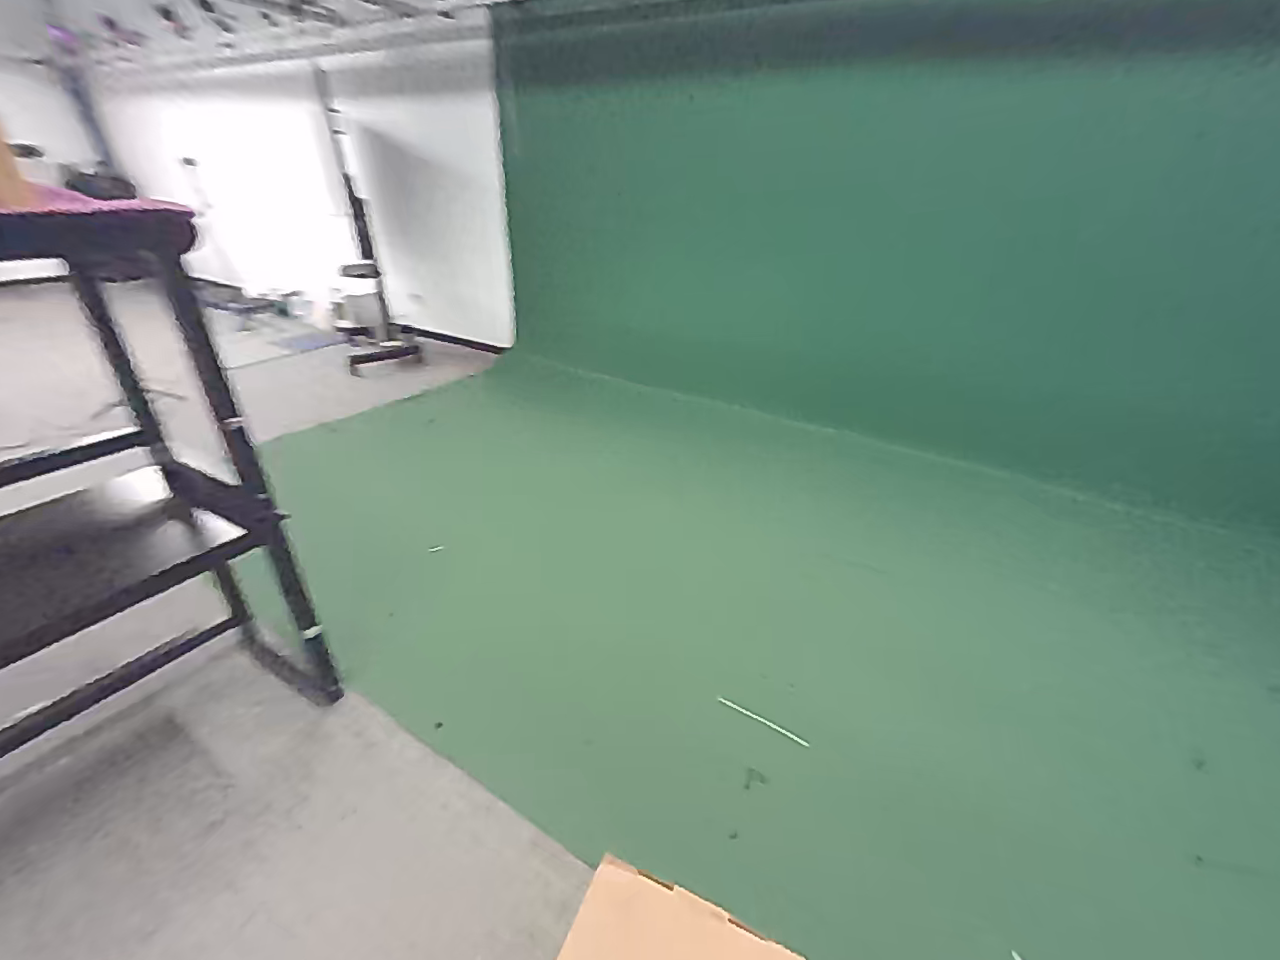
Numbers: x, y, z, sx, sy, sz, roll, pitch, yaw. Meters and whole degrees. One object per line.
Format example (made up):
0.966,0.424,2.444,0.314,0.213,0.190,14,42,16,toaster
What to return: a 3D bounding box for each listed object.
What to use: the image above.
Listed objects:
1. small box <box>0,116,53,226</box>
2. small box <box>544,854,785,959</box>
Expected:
-1.195,-0.540,0.941,0.179,0.176,0.168,21,36,27,small box
-0.007,0.434,0.393,0.168,0.176,0.179,17,33,16,small box
